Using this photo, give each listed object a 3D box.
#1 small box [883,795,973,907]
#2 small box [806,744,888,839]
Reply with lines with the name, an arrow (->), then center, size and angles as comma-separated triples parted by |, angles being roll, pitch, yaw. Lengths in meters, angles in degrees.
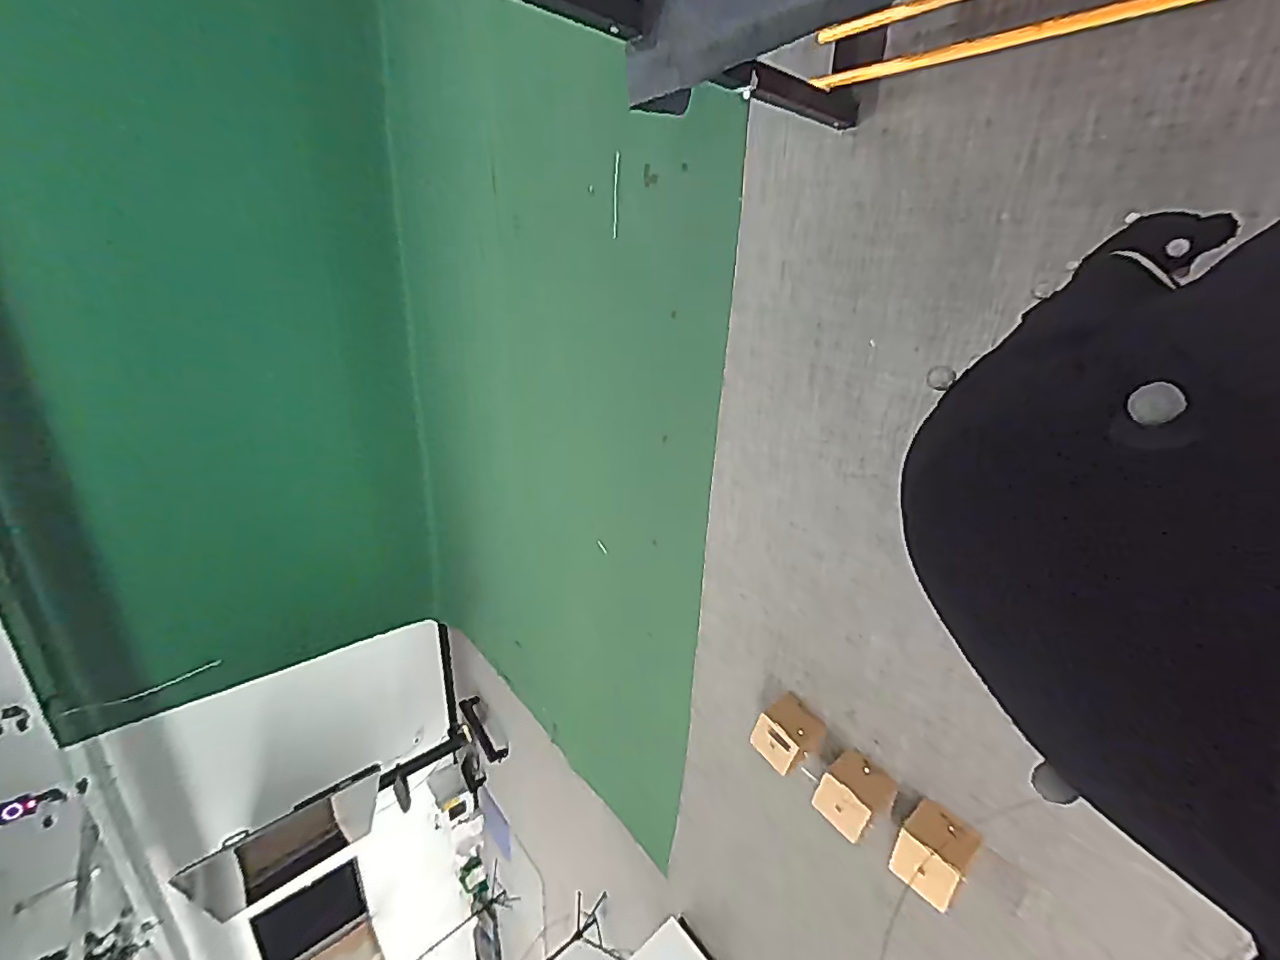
small box -> 0.853, 1.089, 1.600 | 0.168, 0.176, 0.179 | 26, 120, 43
small box -> 0.683, 1.017, 1.779 | 0.168, 0.176, 0.179 | 34, 125, 39
